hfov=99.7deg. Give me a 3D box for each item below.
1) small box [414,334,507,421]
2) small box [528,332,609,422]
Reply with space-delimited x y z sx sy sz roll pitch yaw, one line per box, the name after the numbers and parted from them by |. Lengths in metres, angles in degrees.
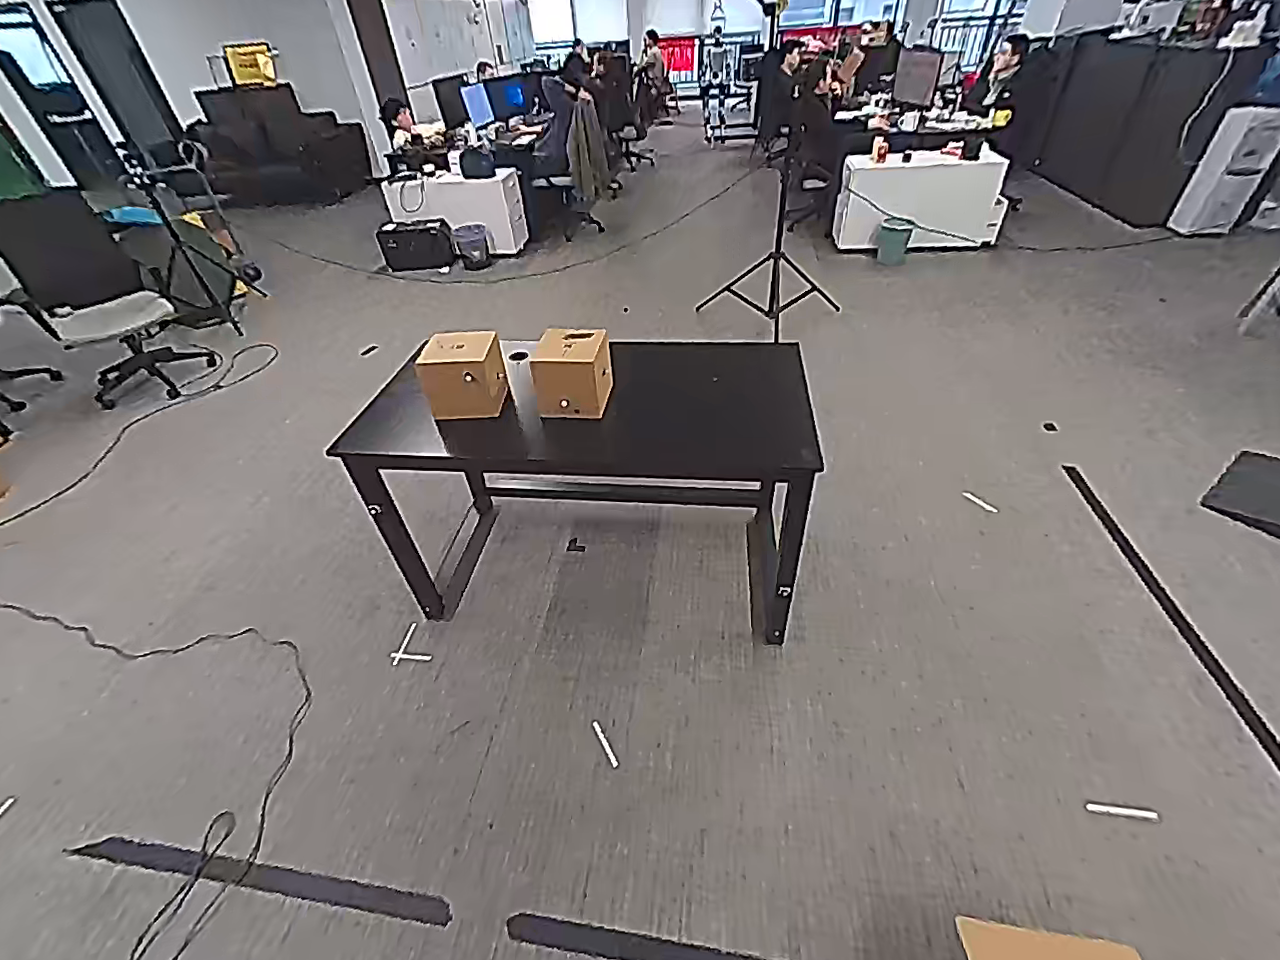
-0.467 -0.271 1.440 0.179 0.176 0.168 -3 40 2 | small box
-0.178 -0.272 1.417 0.168 0.176 0.179 3 42 8 | small box
